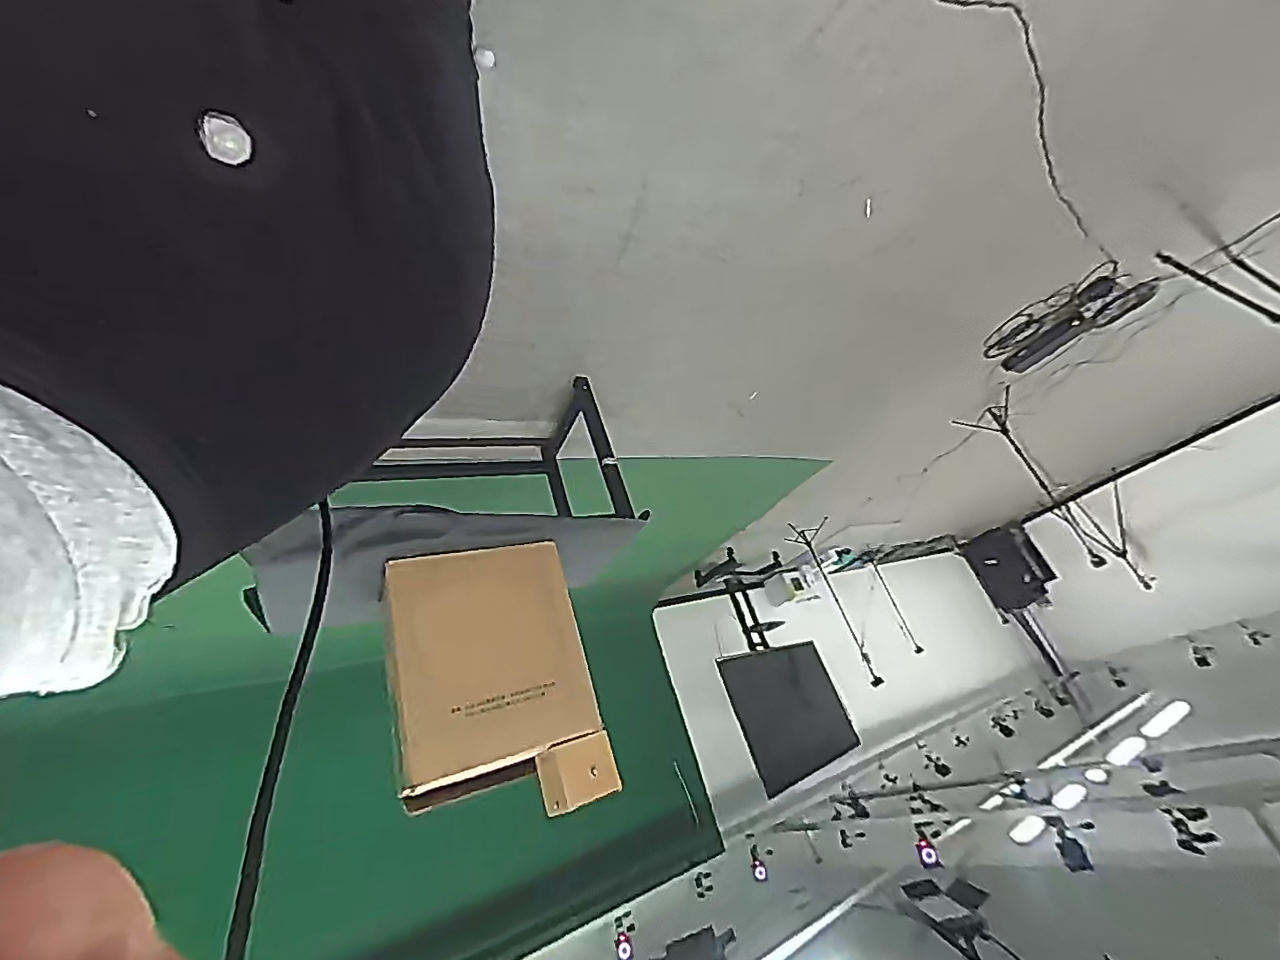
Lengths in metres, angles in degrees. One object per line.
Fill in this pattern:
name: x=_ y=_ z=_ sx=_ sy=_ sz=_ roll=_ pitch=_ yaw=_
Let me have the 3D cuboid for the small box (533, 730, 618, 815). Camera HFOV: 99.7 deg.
small box: x=-0.197 y=0.867 z=1.611 sx=0.179 sy=0.176 sz=0.168 roll=-4 pitch=149 yaw=-36
